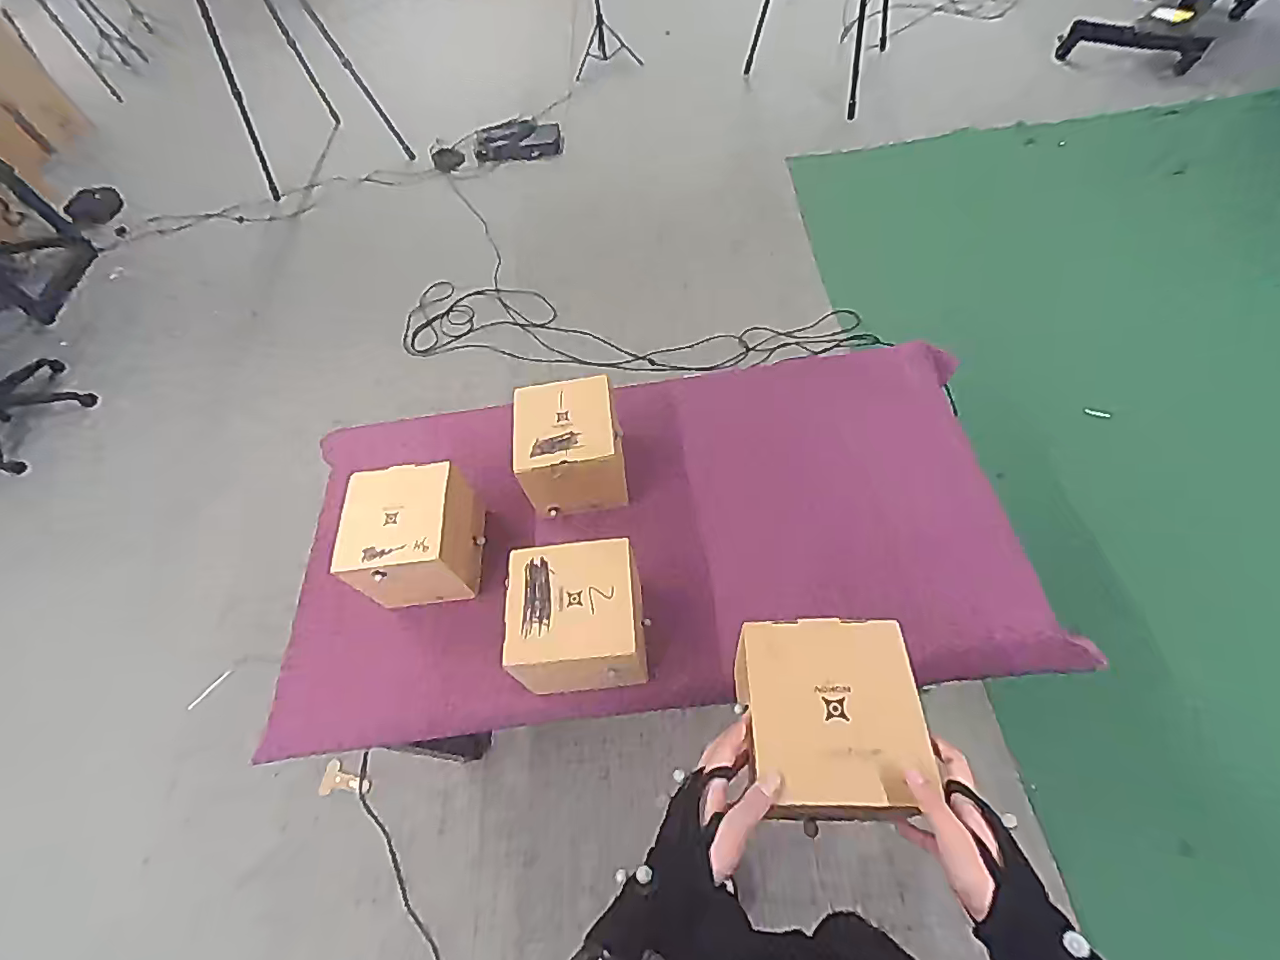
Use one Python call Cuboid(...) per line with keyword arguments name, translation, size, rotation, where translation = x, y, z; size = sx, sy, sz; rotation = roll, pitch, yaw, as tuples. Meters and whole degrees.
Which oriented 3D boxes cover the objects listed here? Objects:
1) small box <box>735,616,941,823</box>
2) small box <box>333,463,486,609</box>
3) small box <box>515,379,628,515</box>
Cuboid(name="small box", translation=(0.196, 0.266, 0.598), size=(0.168, 0.176, 0.179), rotation=(-2, 53, 6))
Cuboid(name="small box", translation=(-0.367, 0.097, 0.900), size=(0.168, 0.176, 0.179), rotation=(-8, 57, 4))
Cuboid(name="small box", translation=(-0.117, -0.049, 0.962), size=(0.168, 0.176, 0.179), rotation=(-8, 57, 2))
